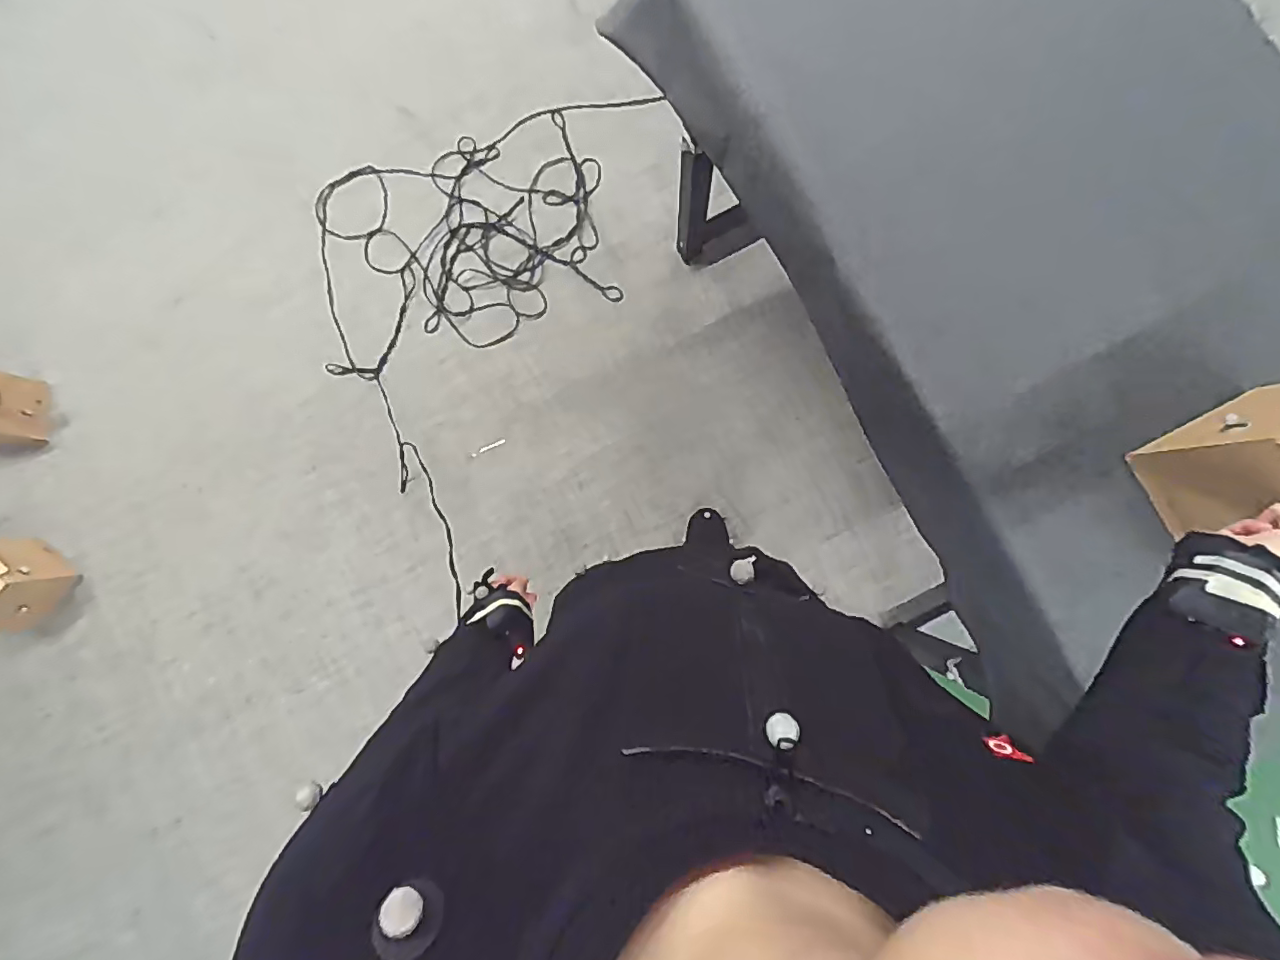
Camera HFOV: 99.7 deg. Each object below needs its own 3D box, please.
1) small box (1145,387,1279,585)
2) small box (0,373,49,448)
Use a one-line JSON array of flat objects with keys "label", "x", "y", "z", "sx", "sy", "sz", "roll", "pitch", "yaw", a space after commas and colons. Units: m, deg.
[{"label": "small box", "x": 0.681, "y": 0.001, "z": 0.549, "sx": 0.179, "sy": 0.176, "sz": 0.168, "roll": -28, "pitch": 86, "yaw": 0}, {"label": "small box", "x": -1.701, "y": -0.178, "z": 1.394, "sx": 0.179, "sy": 0.176, "sz": 0.168, "roll": -7, "pitch": 84, "yaw": 1}]
